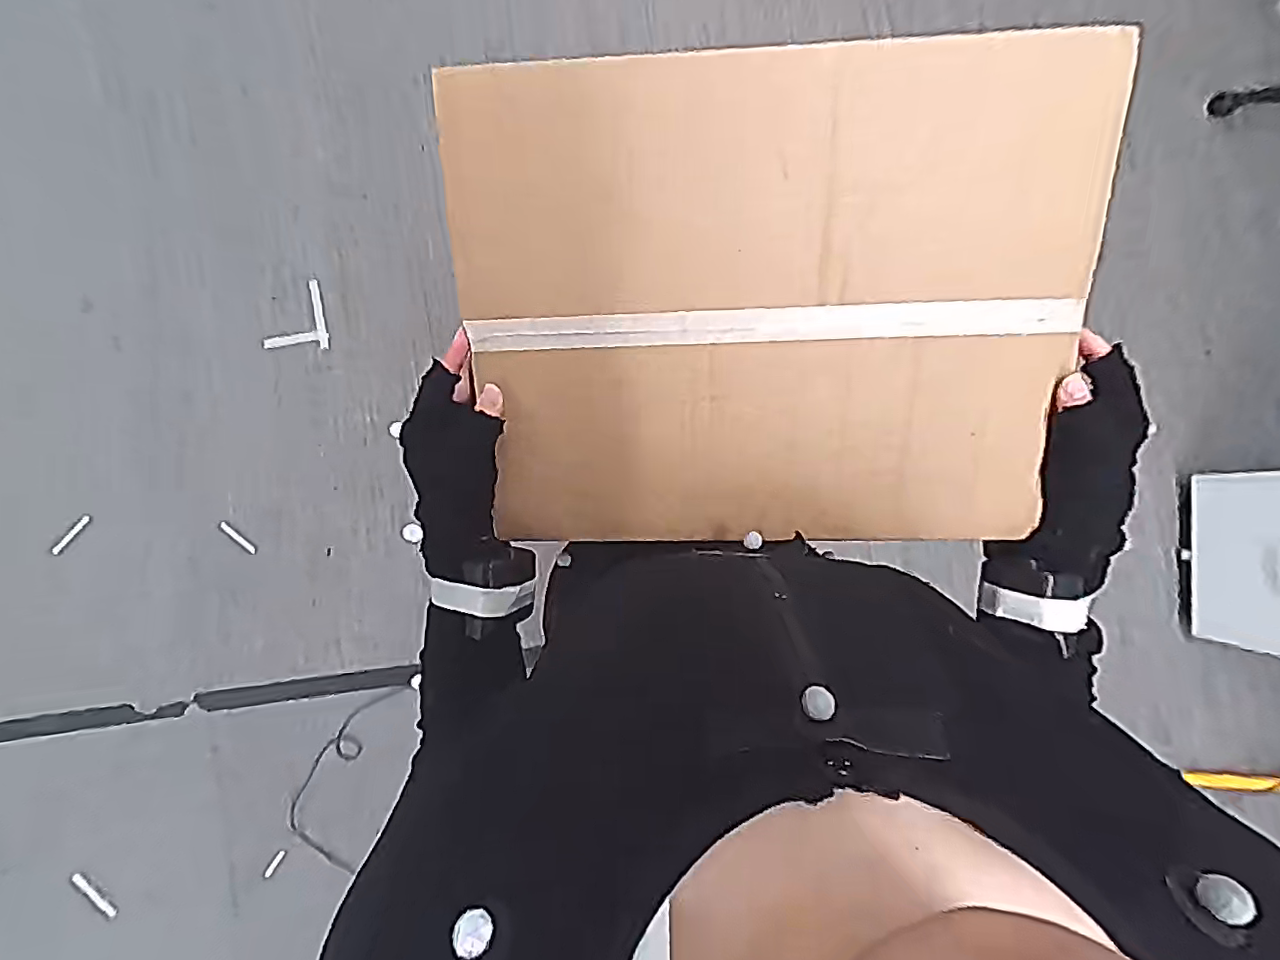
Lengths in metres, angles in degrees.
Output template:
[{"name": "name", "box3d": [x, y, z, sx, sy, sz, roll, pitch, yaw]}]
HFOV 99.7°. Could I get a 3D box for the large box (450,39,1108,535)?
[{"name": "large box", "box3d": [0.089, -0.151, 0.513, 0.408, 0.320, 0.320, 0, 109, 4]}]
